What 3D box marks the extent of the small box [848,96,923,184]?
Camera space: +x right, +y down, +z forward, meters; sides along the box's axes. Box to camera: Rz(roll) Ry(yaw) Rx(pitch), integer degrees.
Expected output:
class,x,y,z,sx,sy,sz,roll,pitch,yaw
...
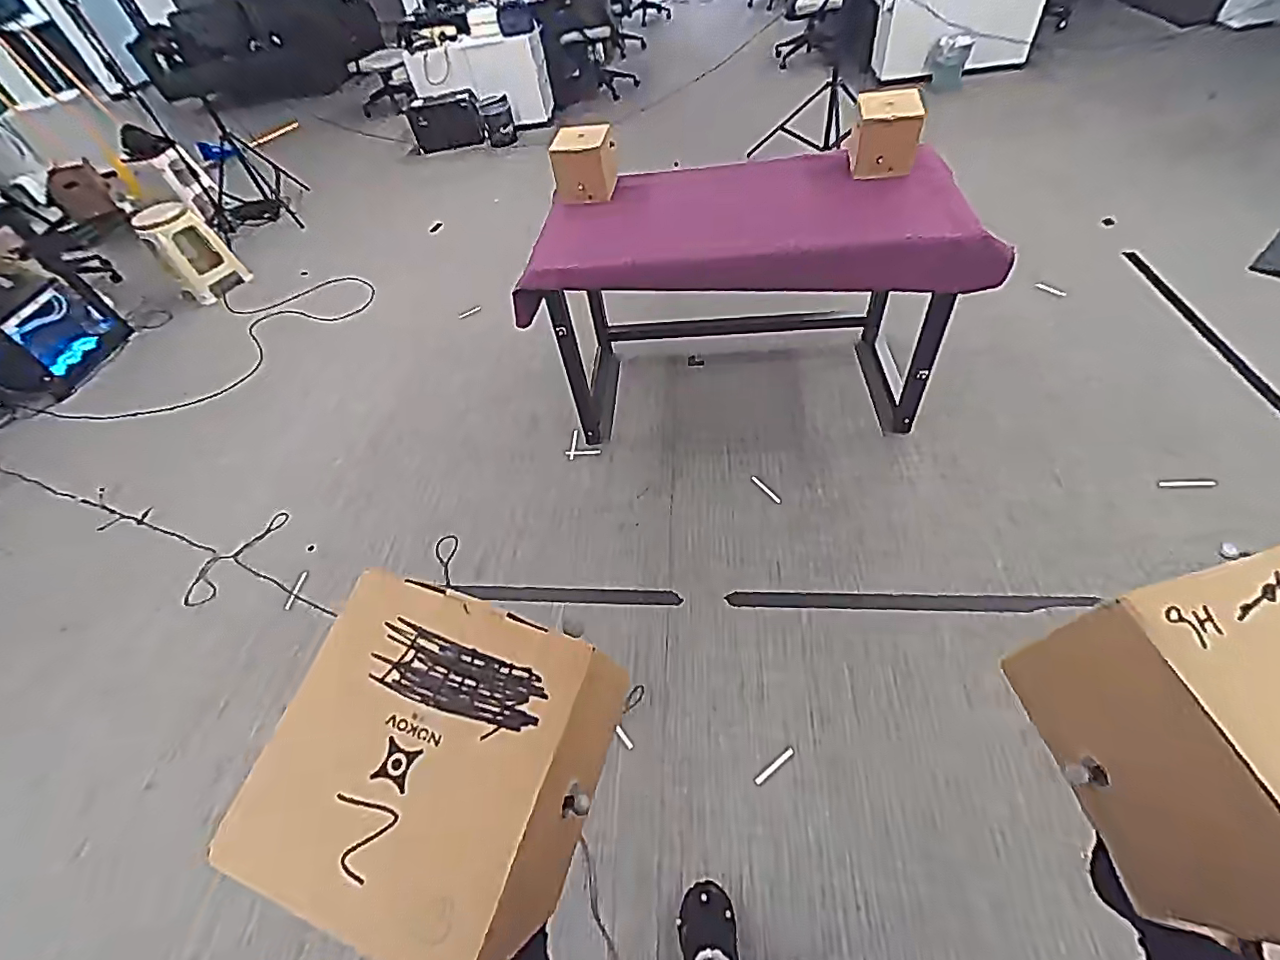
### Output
class,x,y,z,sx,sy,sz,roll,pitch,yaw
small box,0.729,-1.018,1.623,0.168,0.176,0.179,2,55,11

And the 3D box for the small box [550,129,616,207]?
class,x,y,z,sx,sy,sz,roll,pitch,yaw
small box,-0.177,-1.014,1.761,0.168,0.176,0.179,2,53,11

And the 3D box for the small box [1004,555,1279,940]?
class,x,y,z,sx,sy,sz,roll,pitch,yaw
small box,0.388,0.161,0.345,0.168,0.176,0.179,-16,59,-1
